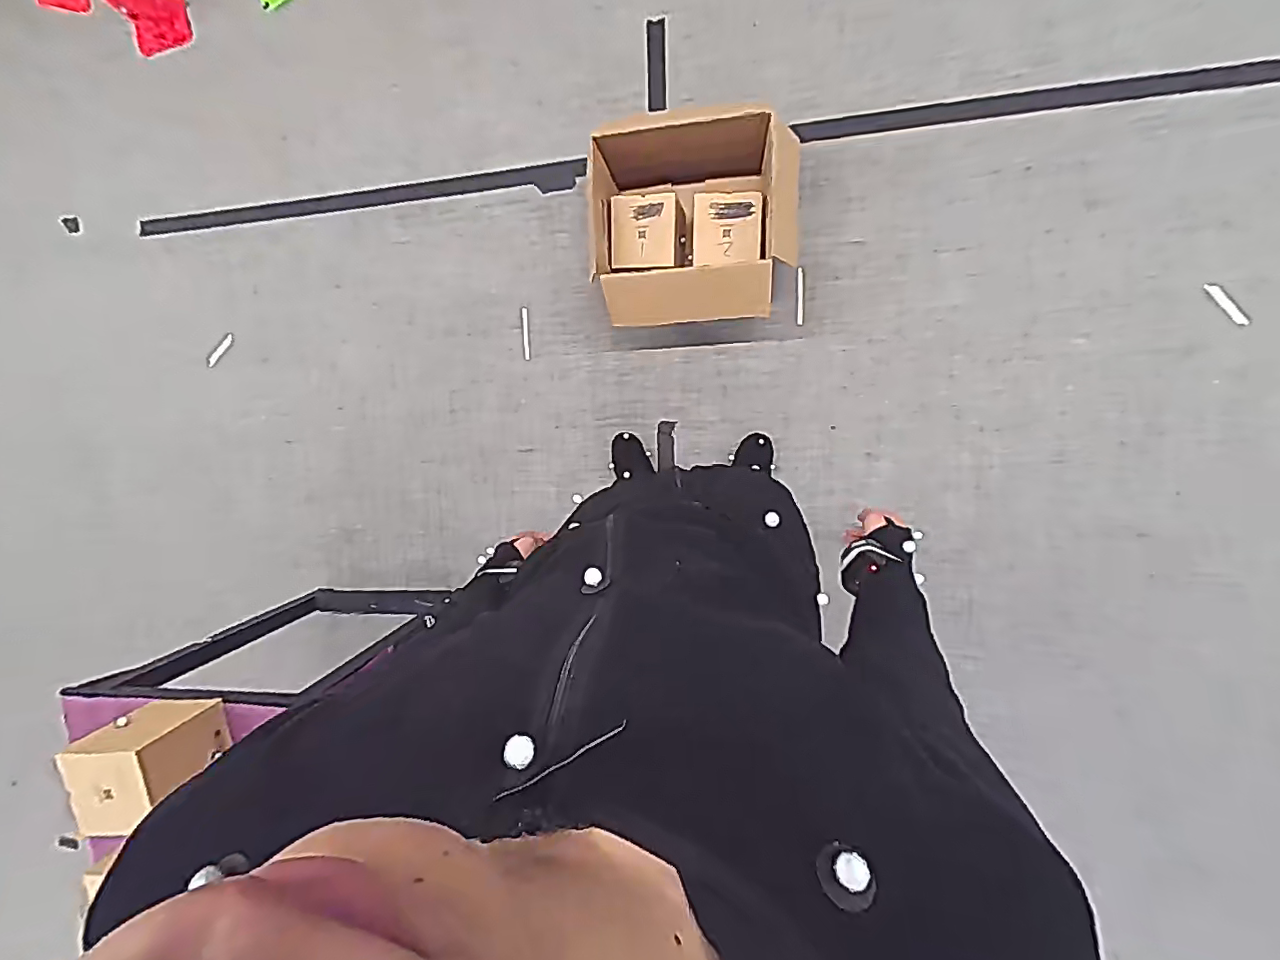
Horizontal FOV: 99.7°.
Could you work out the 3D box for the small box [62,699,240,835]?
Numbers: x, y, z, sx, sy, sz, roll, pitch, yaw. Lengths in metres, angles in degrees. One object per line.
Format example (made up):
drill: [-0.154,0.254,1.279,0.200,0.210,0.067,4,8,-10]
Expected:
small box: [-0.924,0.539,1.035,0.179,0.176,0.168,-6,99,11]

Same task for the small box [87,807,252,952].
small box: [-0.908,0.776,1.066,0.179,0.176,0.168,-8,97,11]
